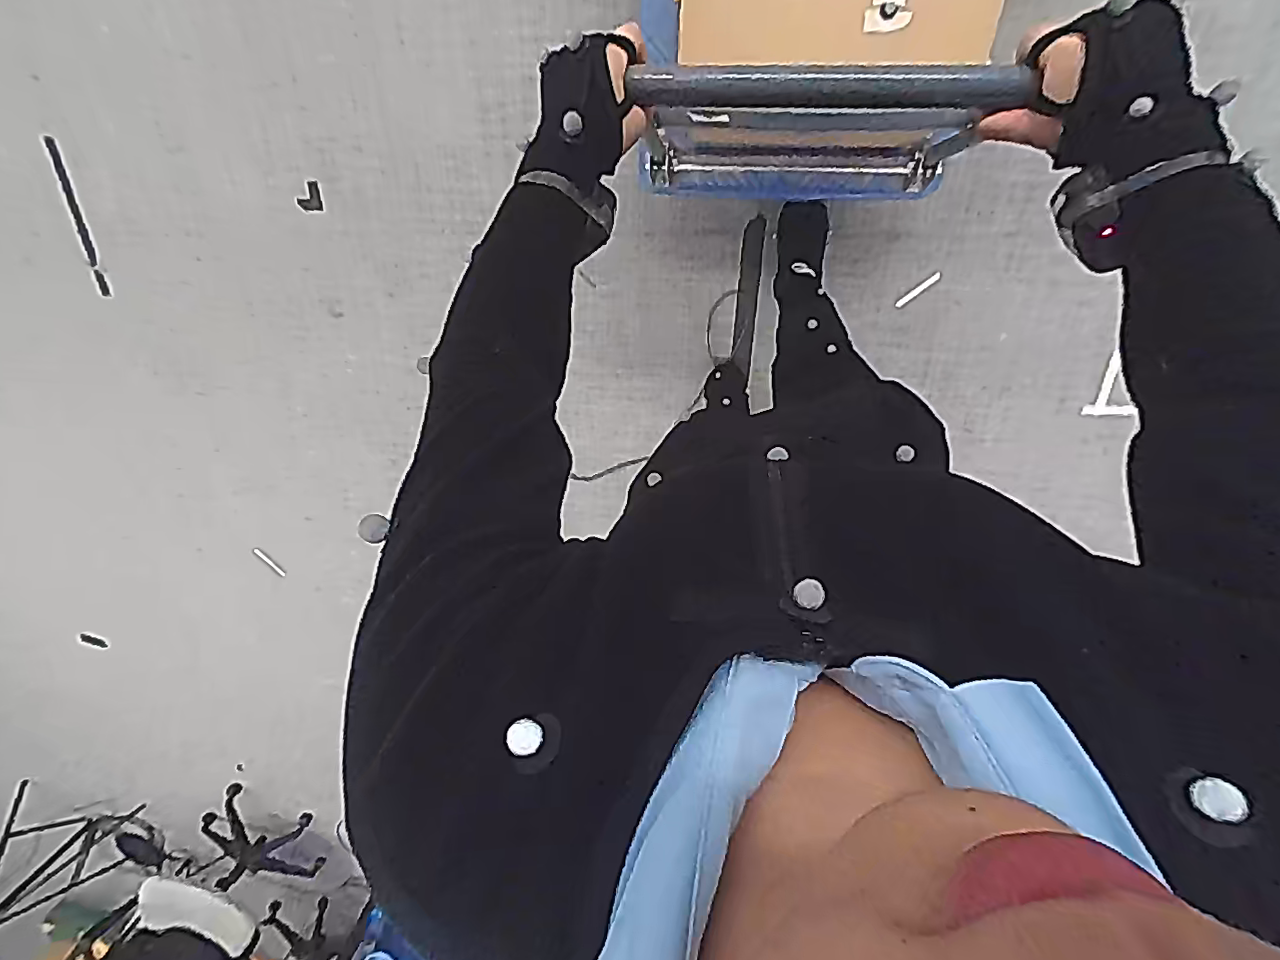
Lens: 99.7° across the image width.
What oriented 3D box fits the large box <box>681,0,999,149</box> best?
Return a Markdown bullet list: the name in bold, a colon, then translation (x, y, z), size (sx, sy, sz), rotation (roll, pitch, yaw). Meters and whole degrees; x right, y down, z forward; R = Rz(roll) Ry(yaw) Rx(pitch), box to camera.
- **large box**: translation (0.273, -0.704, 0.821), size (0.408, 0.320, 0.320), rotation (5, 116, 6)
